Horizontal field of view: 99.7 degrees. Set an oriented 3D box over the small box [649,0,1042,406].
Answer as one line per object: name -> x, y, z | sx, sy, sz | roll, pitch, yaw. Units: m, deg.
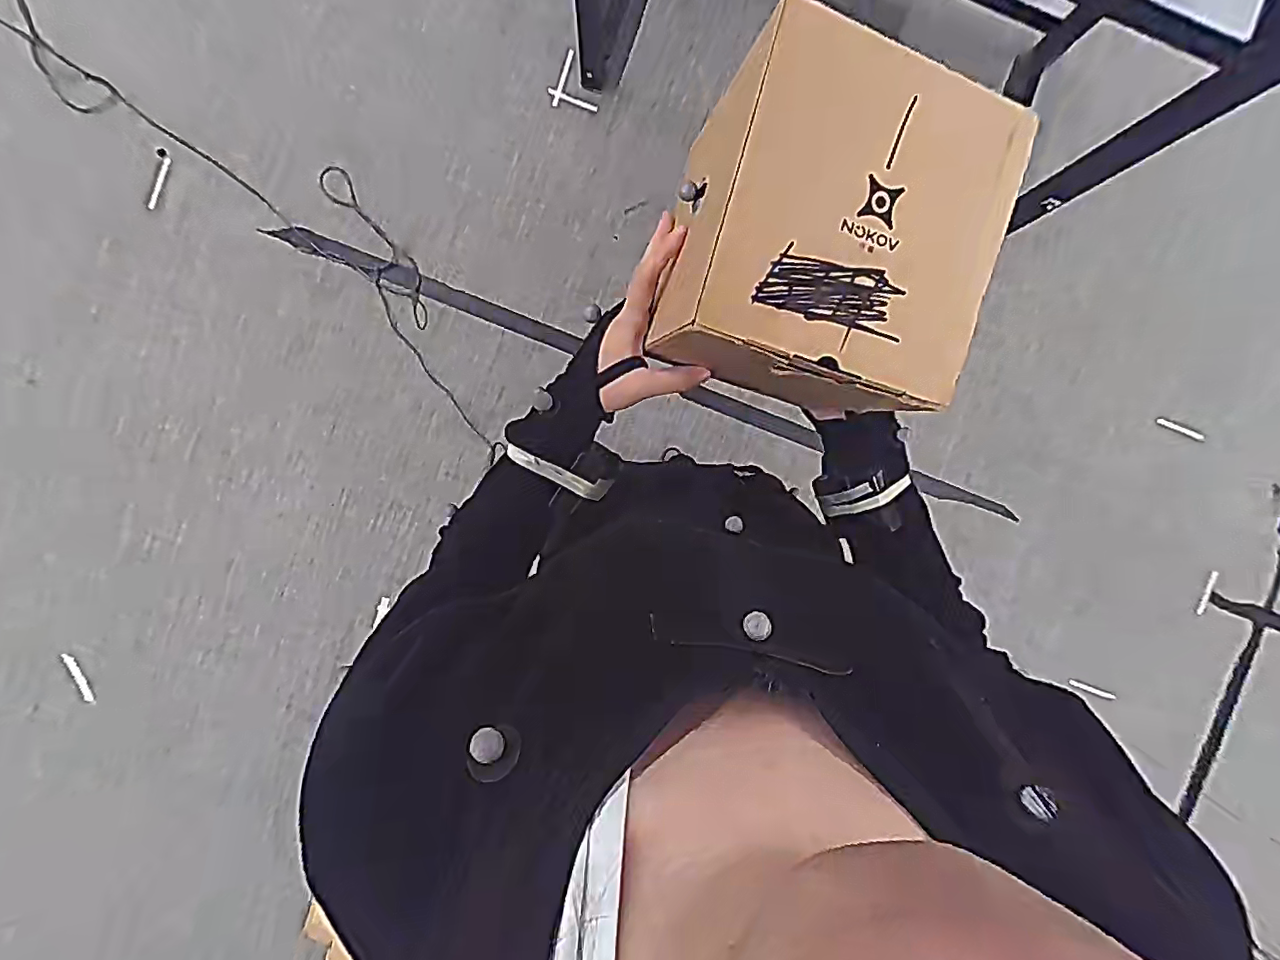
small box -> 0.114, -0.157, 0.373 | 0.168, 0.176, 0.179 | 15, 94, -13
